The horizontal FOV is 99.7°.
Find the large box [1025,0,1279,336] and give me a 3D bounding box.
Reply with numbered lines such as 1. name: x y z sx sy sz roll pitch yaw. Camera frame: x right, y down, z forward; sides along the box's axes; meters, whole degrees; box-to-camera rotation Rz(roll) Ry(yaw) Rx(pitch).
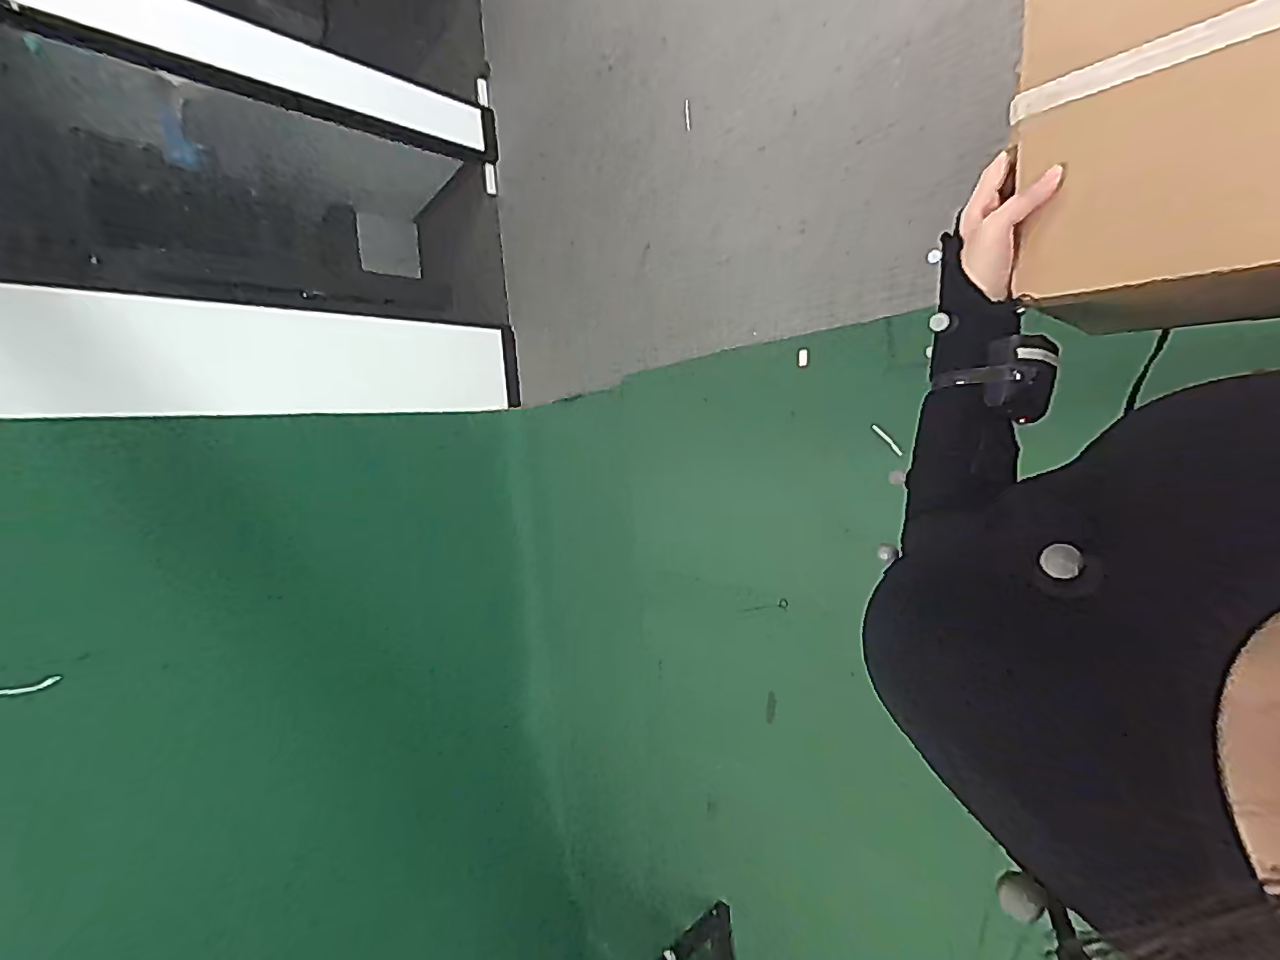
1. large box: 0.562 -0.306 0.400 0.408 0.320 0.320 4 98 47
